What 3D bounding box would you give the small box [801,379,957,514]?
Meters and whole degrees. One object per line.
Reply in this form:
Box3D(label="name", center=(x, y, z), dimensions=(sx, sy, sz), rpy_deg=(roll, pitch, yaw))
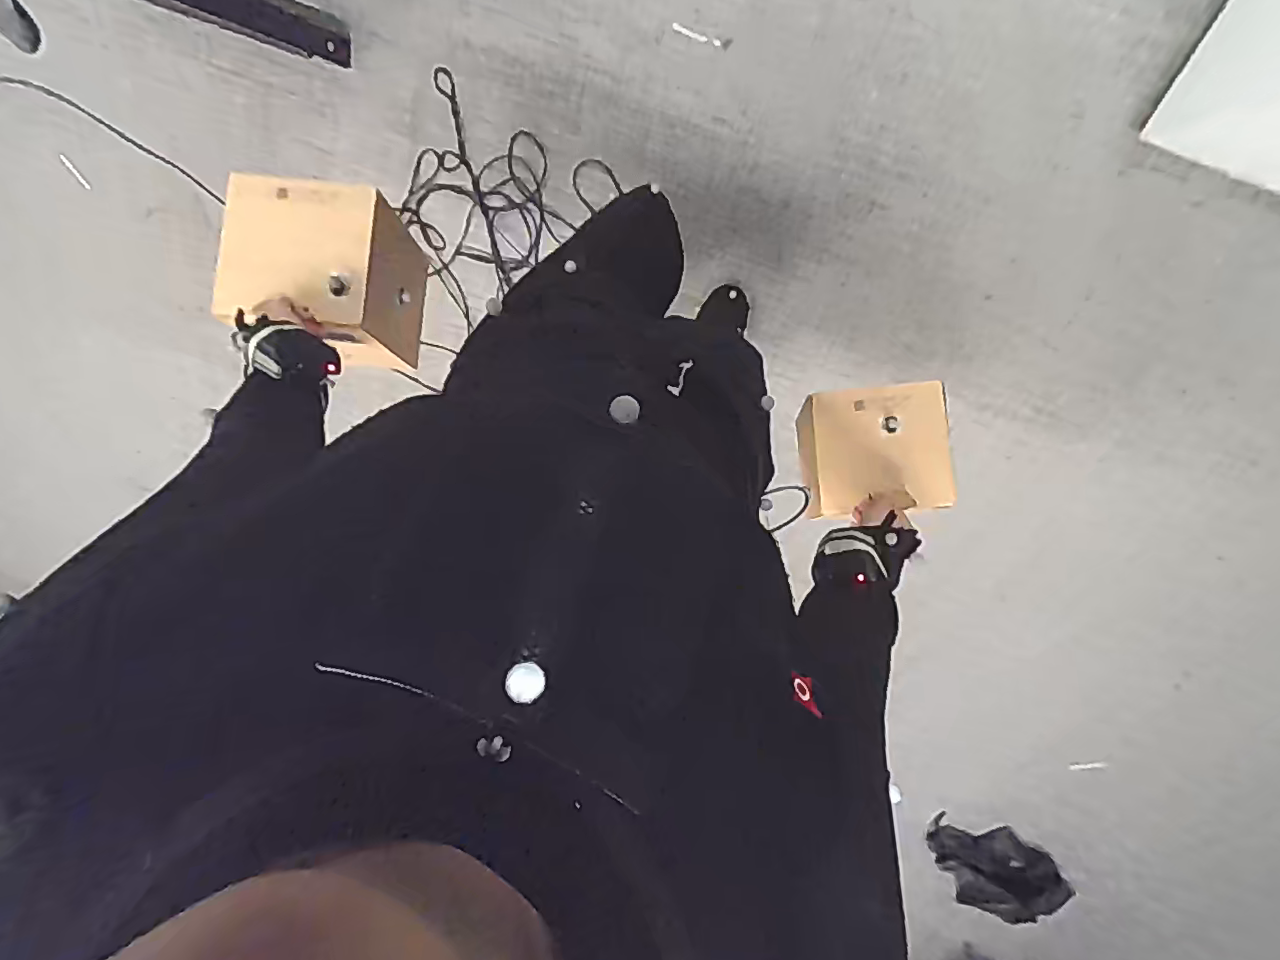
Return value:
Box3D(label="small box", center=(0.329, -0.040, 0.779), dimensions=(0.168, 0.179, 0.176), rpy_deg=(-5, 84, 10))
